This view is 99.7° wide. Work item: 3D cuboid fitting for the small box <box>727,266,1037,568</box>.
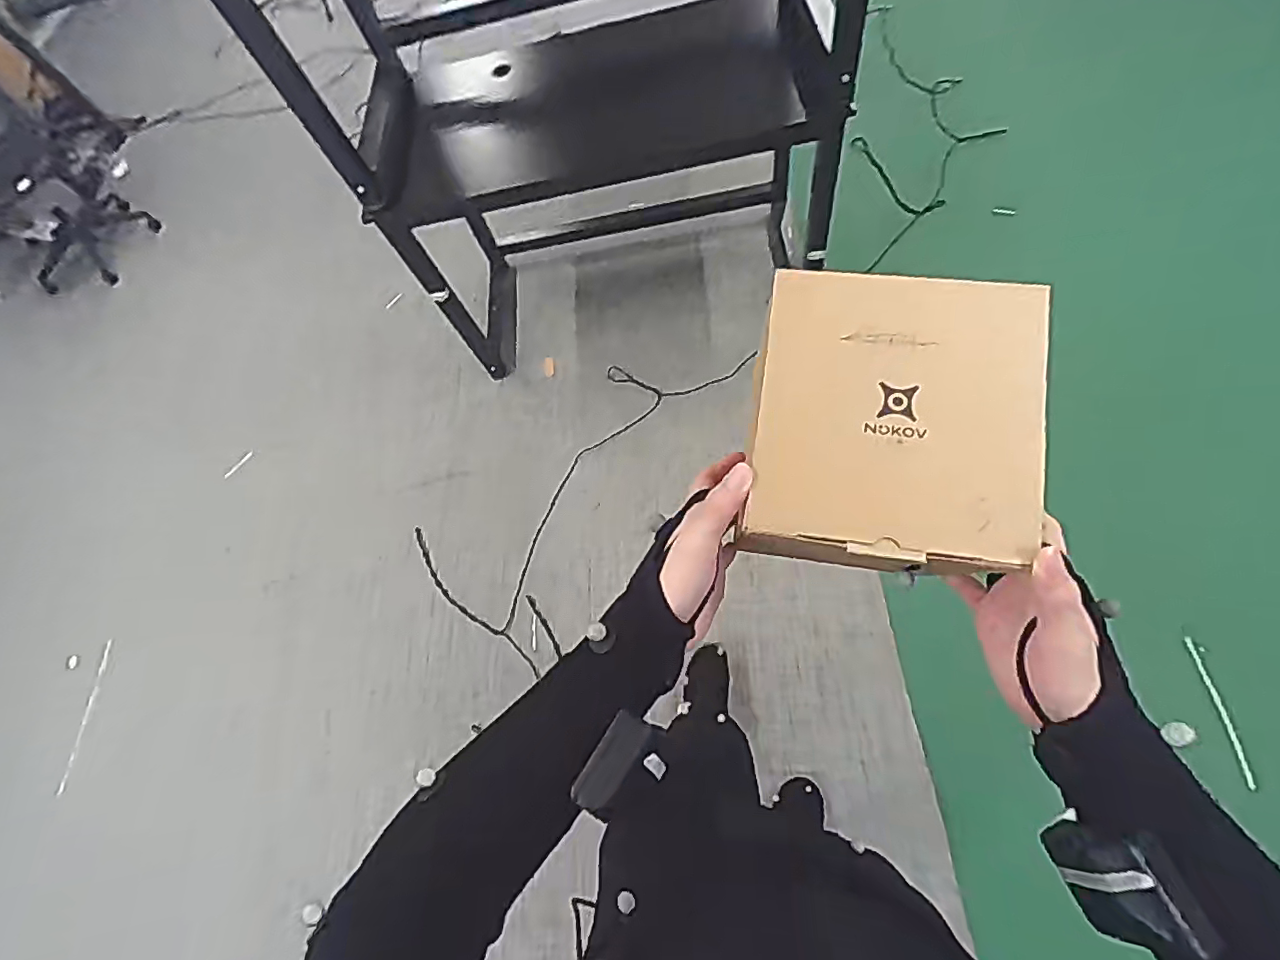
[{"bbox_3d":[0.159,-0.031,0.407,0.168,0.176,0.179,8,80,9],"label":"small box"}]
